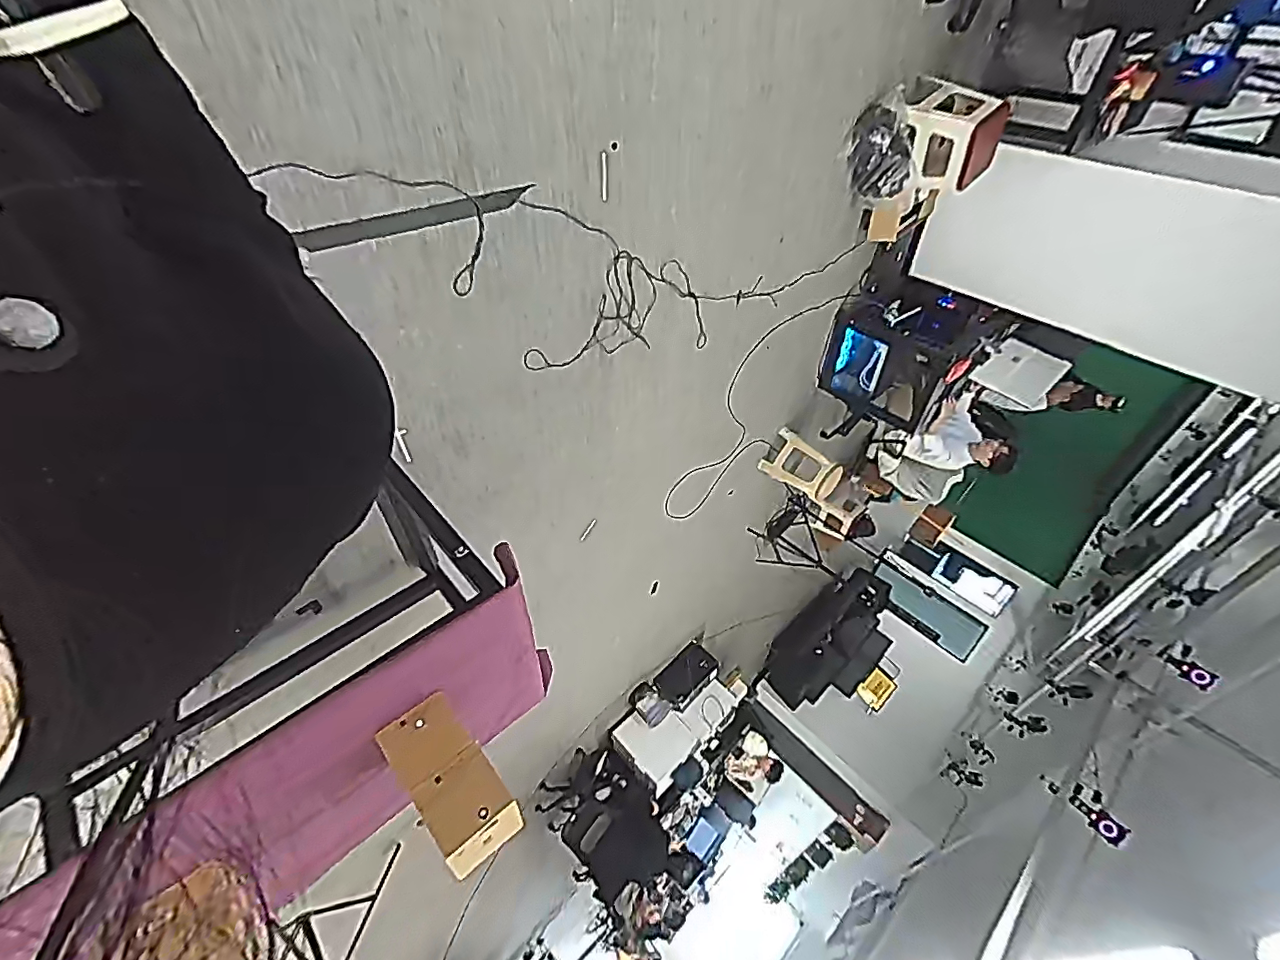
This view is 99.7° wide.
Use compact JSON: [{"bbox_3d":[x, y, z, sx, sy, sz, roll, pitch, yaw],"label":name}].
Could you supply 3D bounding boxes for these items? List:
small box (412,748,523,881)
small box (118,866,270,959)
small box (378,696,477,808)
[{"bbox_3d":[-0.383,0.741,1.211,0.168,0.176,0.179,-30,143,-32],"label":"small box"},{"bbox_3d":[-0.868,0.908,1.059,0.168,0.176,0.179,-29,142,-35],"label":"small box"},{"bbox_3d":[-0.496,0.657,1.295,0.168,0.176,0.179,-31,142,-31],"label":"small box"}]
